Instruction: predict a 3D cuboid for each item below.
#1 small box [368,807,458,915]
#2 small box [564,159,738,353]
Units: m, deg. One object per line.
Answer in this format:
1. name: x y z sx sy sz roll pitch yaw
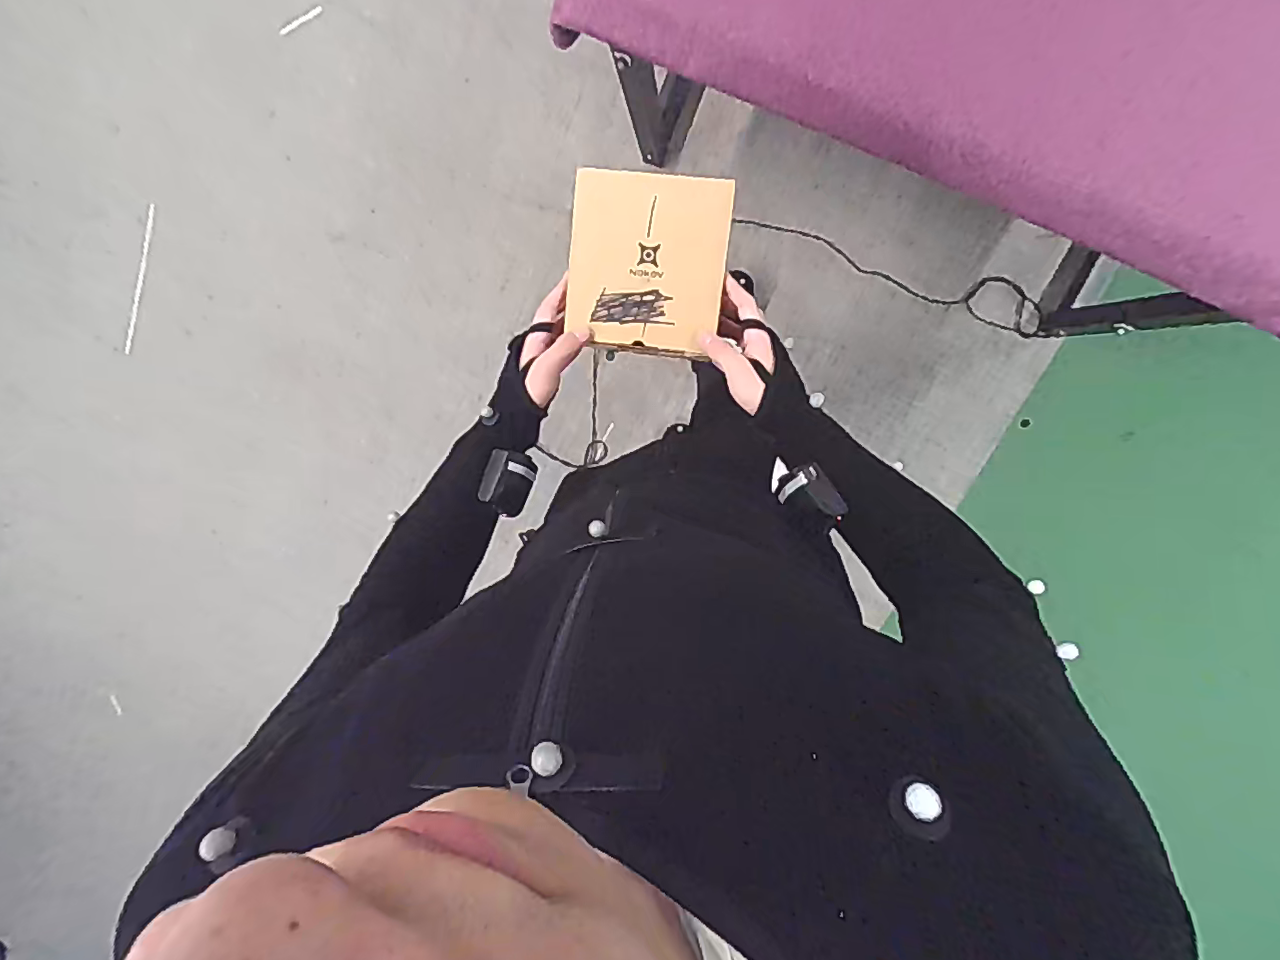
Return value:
1. small box: -0.681 1.149 1.642 0.168 0.176 0.179 28 103 -1
2. small box: 0.015 -0.246 0.637 0.168 0.176 0.179 7 102 3
